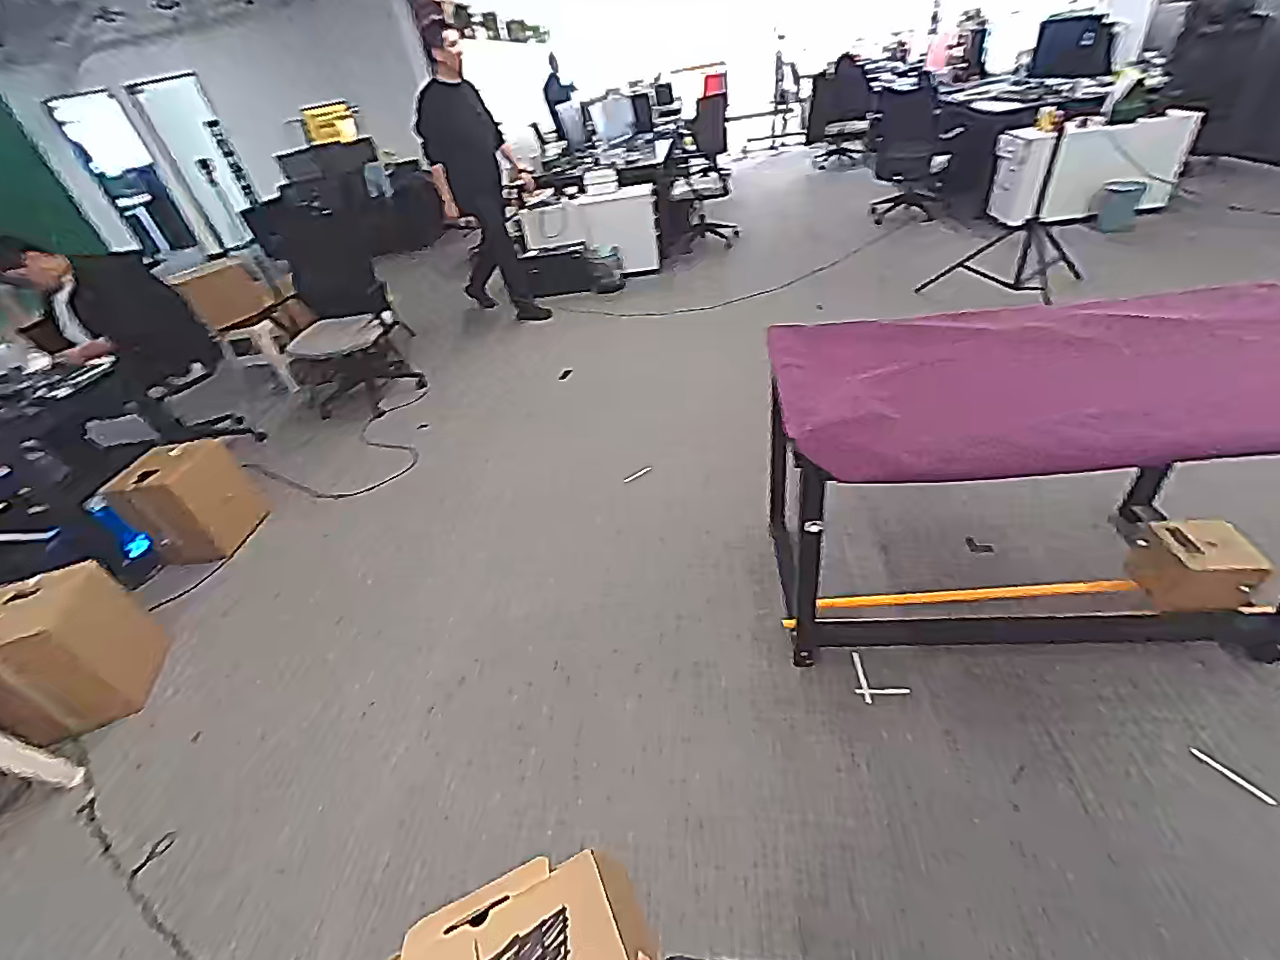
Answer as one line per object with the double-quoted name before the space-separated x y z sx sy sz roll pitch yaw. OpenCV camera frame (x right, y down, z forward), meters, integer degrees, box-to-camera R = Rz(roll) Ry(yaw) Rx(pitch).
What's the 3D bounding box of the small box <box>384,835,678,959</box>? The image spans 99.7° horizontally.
"small box" -0.050 0.382 0.369 0.168 0.176 0.179 -23 53 -10
